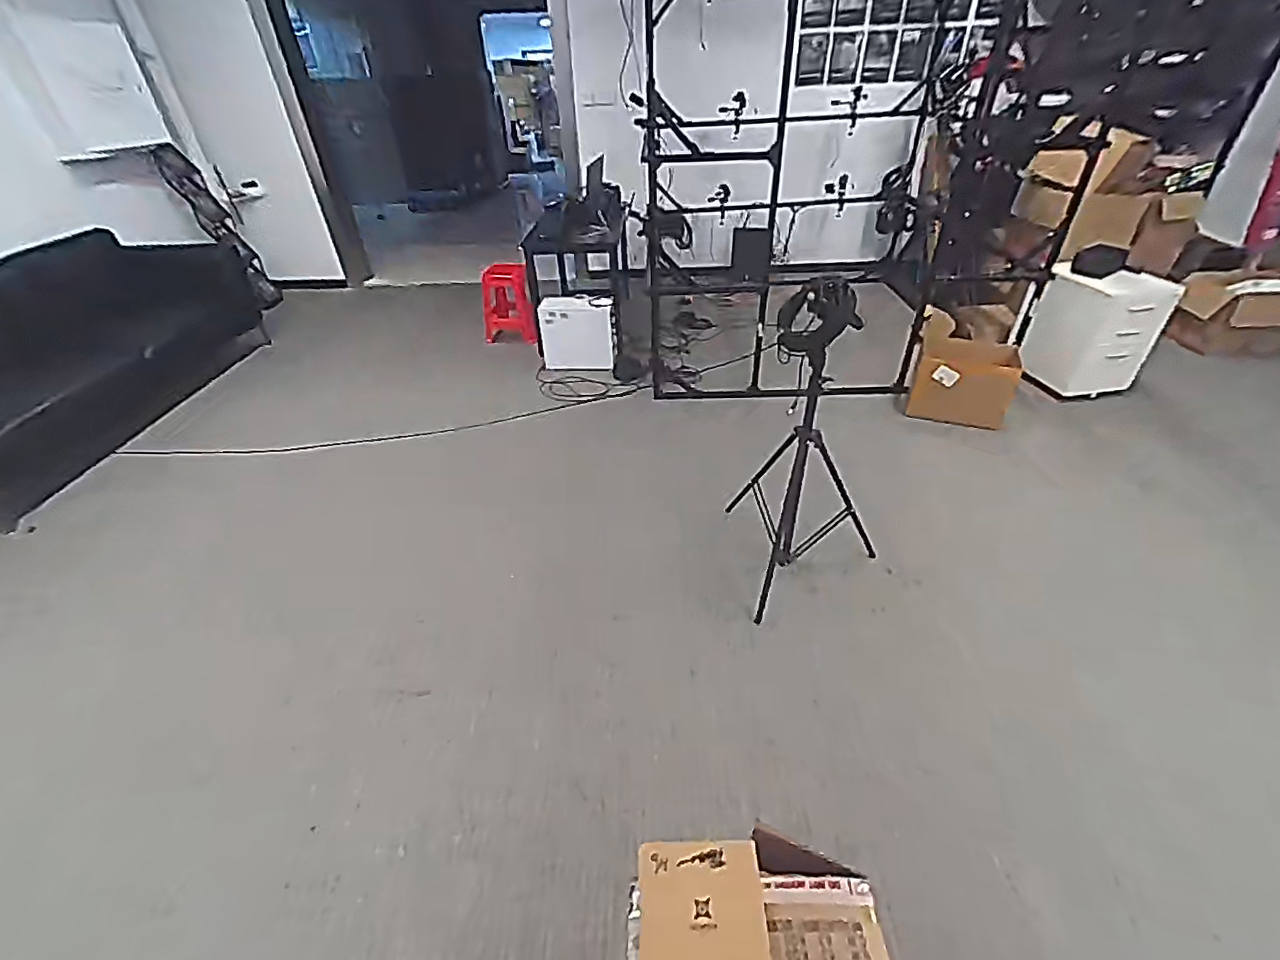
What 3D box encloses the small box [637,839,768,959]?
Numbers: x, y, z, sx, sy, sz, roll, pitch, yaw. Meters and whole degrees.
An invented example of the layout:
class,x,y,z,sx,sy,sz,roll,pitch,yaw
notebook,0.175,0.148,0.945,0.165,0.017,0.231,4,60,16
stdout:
class,x,y,z,sx,sy,sz,roll,pitch,yaw
small box,0.084,0.629,0.756,0.168,0.176,0.179,-3,41,2
